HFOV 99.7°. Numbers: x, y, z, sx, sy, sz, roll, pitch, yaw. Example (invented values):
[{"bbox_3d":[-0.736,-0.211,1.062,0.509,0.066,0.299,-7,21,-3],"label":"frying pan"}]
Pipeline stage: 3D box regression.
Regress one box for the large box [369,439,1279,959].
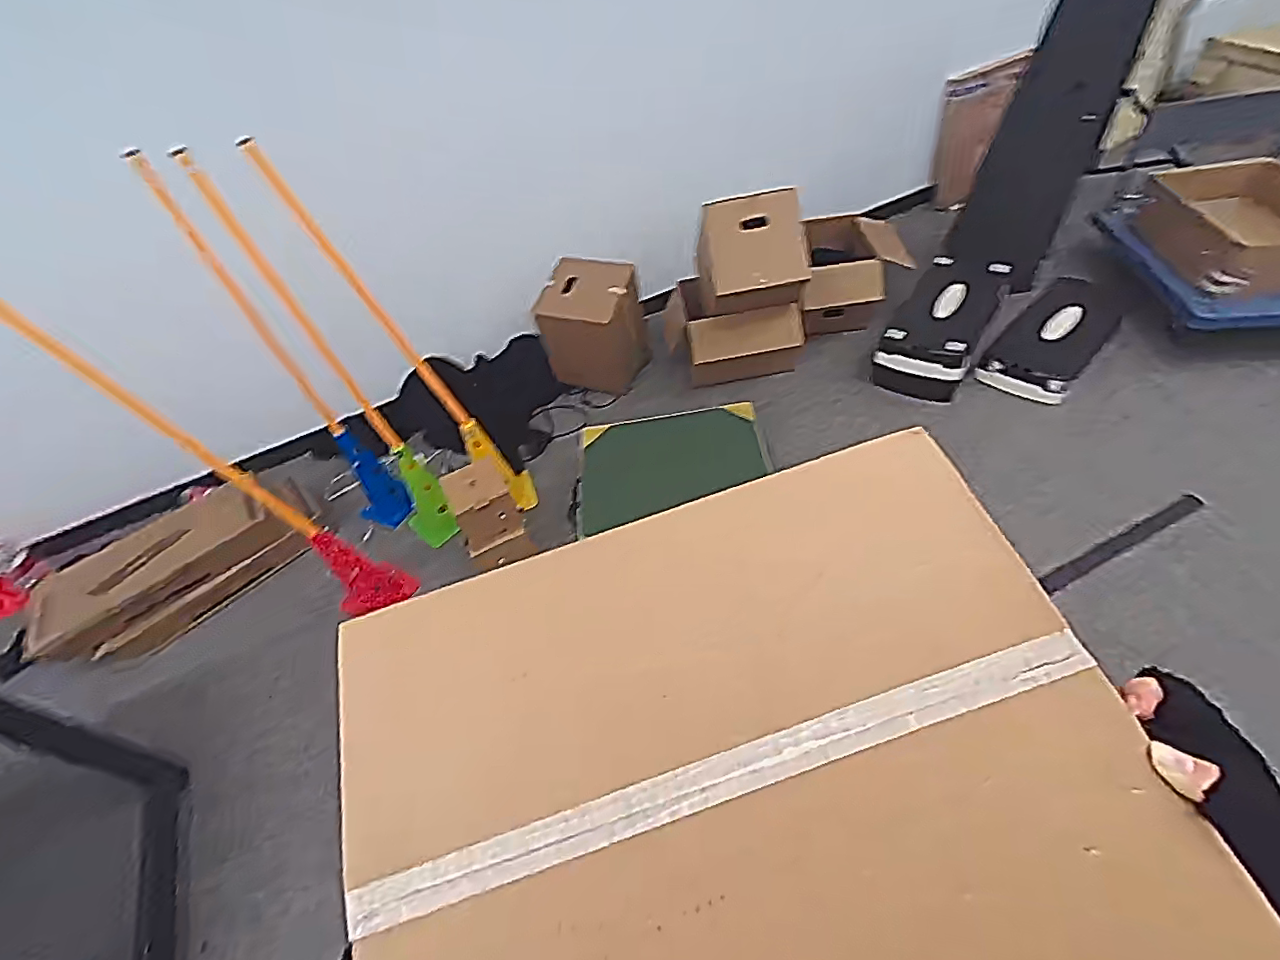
[{"bbox_3d":[0.069,0.231,0.421,0.408,0.320,0.320,-19,61,-2],"label":"large box"}]
